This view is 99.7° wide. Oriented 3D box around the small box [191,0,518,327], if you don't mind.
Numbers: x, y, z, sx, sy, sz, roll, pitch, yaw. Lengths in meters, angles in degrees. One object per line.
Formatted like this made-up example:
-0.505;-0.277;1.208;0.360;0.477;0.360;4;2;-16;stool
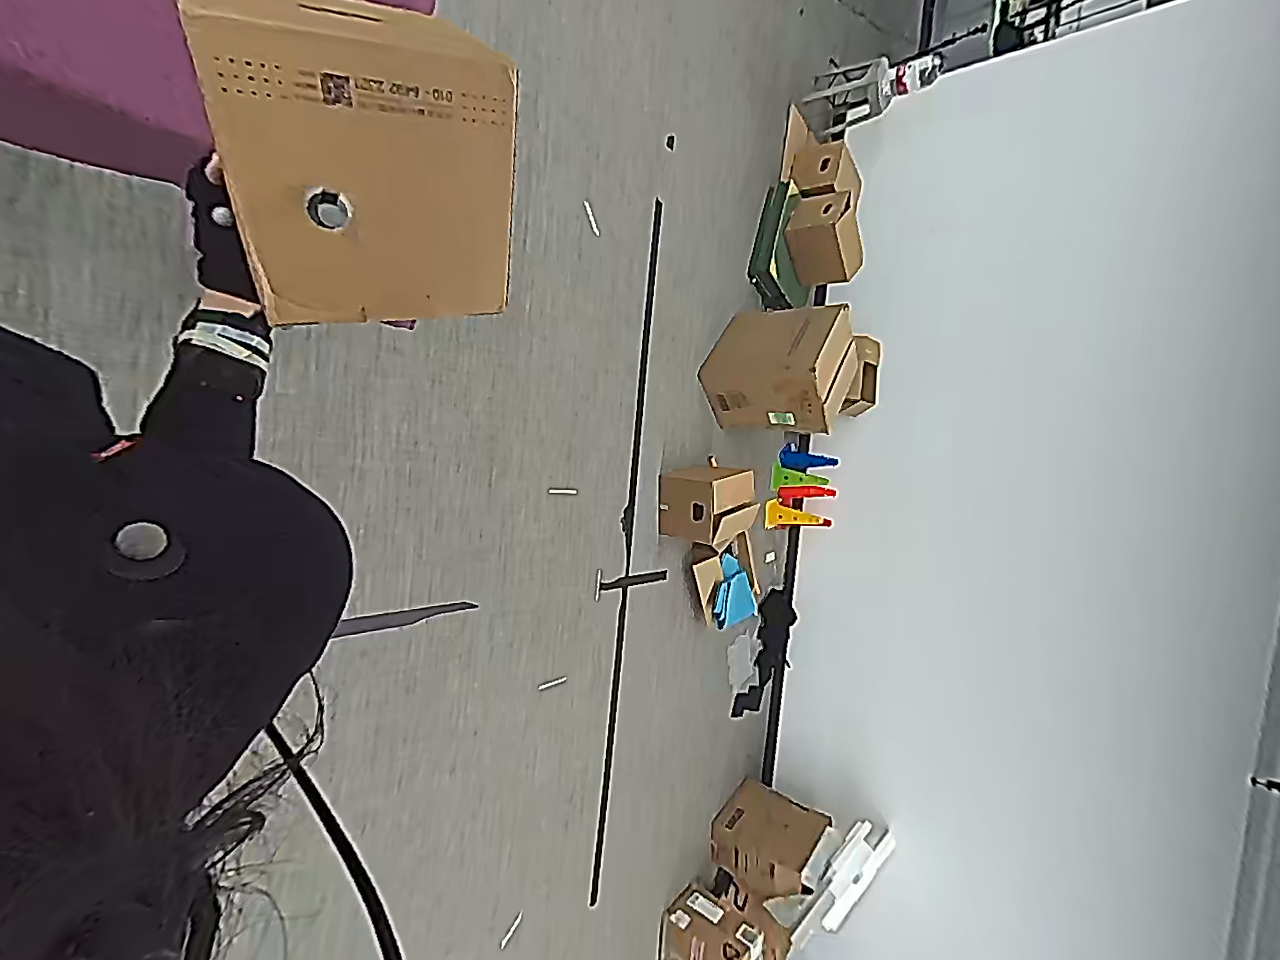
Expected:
-0.195;-0.231;0.384;0.168;0.179;0.176;-13;139;-32;small box
